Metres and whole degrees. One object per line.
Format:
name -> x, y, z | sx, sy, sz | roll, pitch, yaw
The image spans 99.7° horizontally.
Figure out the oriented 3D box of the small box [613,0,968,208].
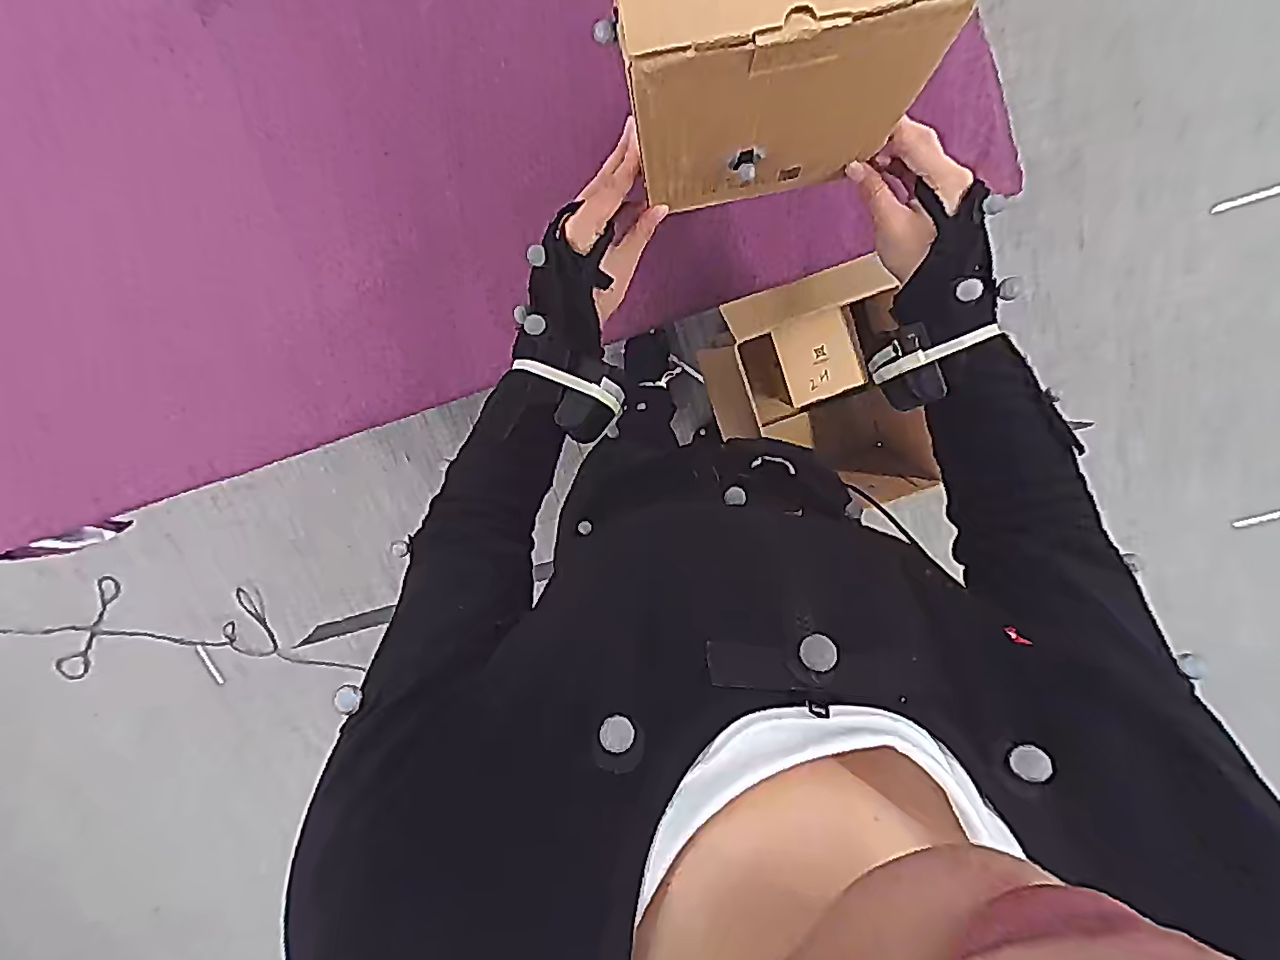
small box -> 0.067, -0.300, 0.327 | 0.168, 0.176, 0.179 | -9, 93, 5
